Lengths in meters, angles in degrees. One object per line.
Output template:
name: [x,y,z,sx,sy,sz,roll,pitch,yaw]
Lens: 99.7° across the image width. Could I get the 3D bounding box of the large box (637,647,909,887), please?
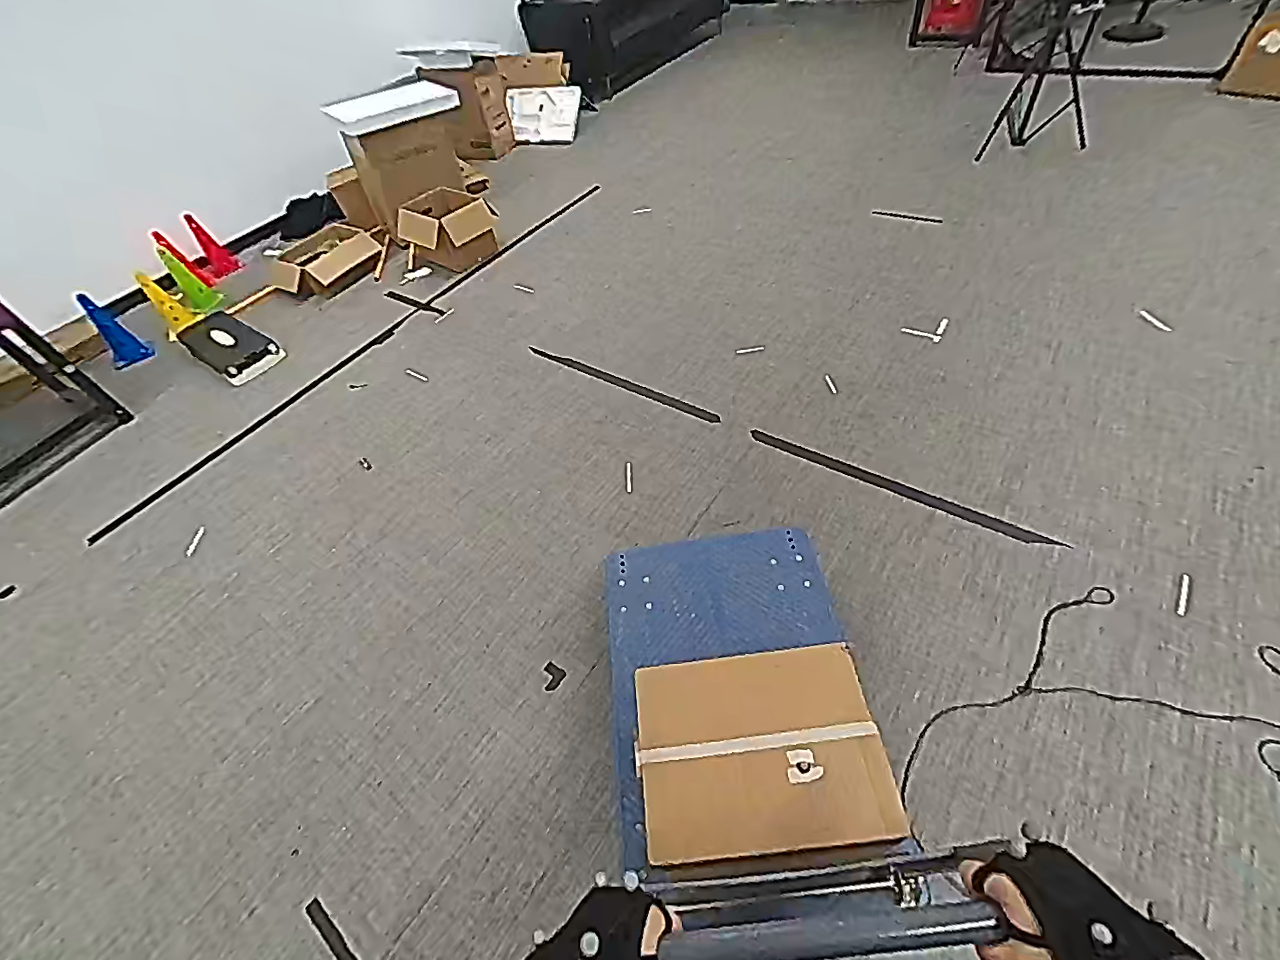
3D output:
large box: [0.220,0.556,1.038,0.408,0.320,0.320,-8,49,2]
